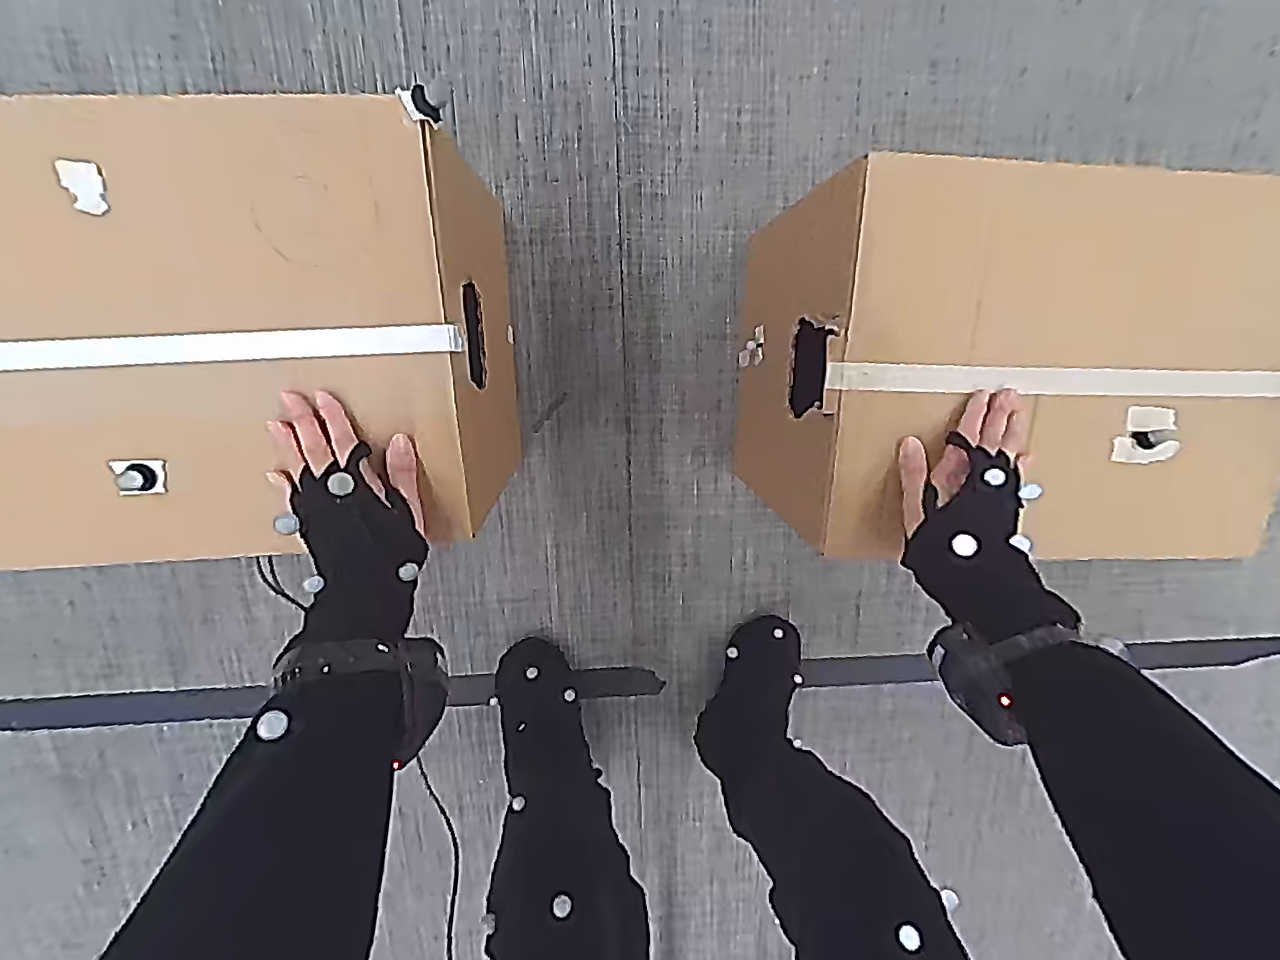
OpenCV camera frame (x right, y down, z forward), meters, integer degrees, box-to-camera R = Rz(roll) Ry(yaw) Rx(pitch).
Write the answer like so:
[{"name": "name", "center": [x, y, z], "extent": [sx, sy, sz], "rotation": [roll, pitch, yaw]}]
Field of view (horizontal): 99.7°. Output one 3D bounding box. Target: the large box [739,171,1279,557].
[{"name": "large box", "center": [0.347, -0.117, 0.600], "extent": [0.408, 0.320, 0.320], "rotation": [0, 104, -5]}]
